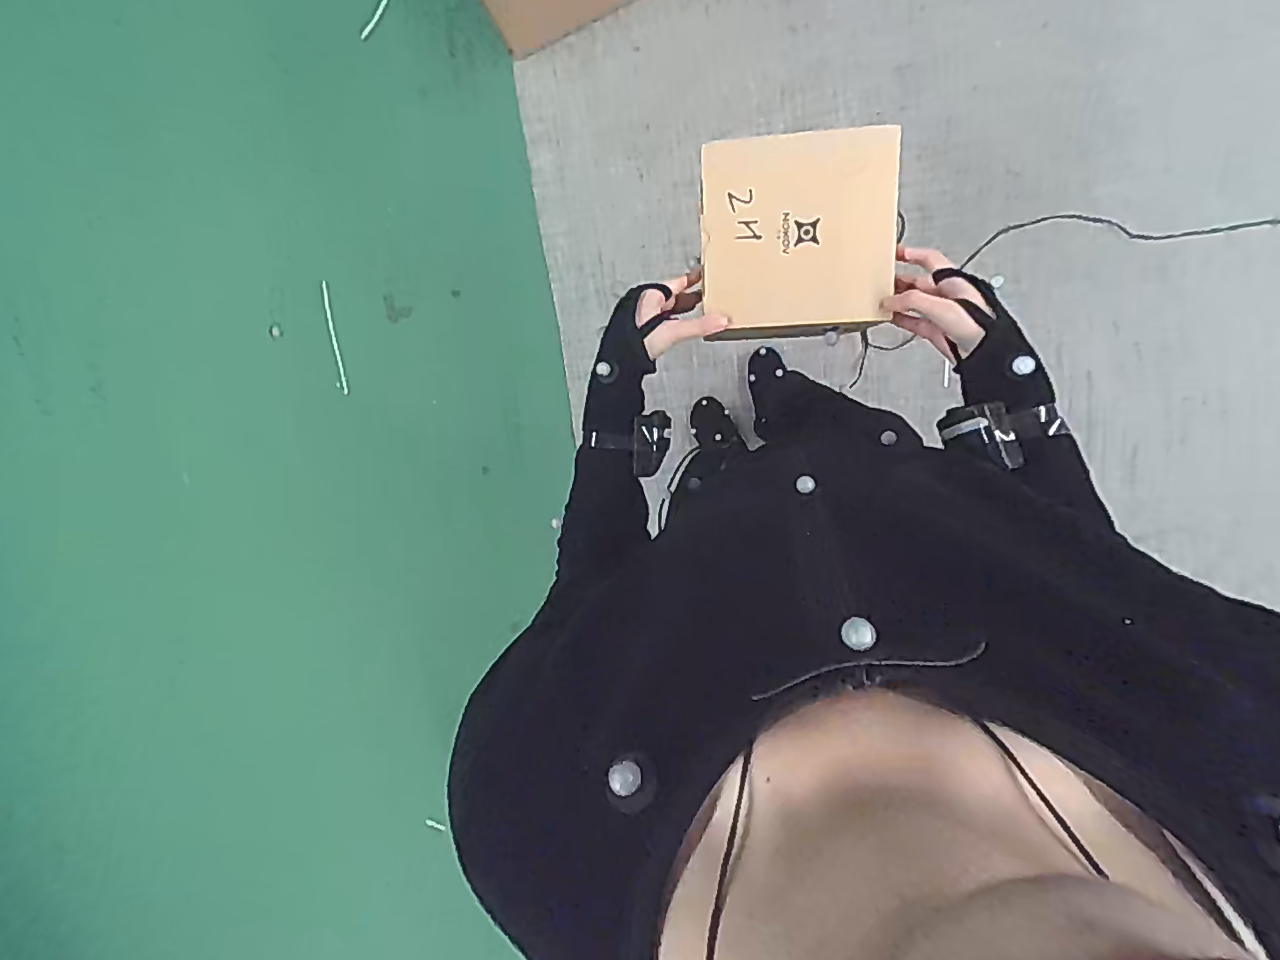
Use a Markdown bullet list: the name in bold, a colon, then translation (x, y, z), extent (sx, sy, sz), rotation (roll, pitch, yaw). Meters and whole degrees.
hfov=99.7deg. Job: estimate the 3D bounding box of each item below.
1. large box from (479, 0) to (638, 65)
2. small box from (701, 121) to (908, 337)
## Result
- **large box**: translation (-0.198, -1.231, 1.176), extent (0.408, 0.320, 0.320), rotation (-21, 96, 11)
- **small box**: translation (0.153, -0.241, 0.562), extent (0.179, 0.176, 0.168), rotation (0, 100, 7)
